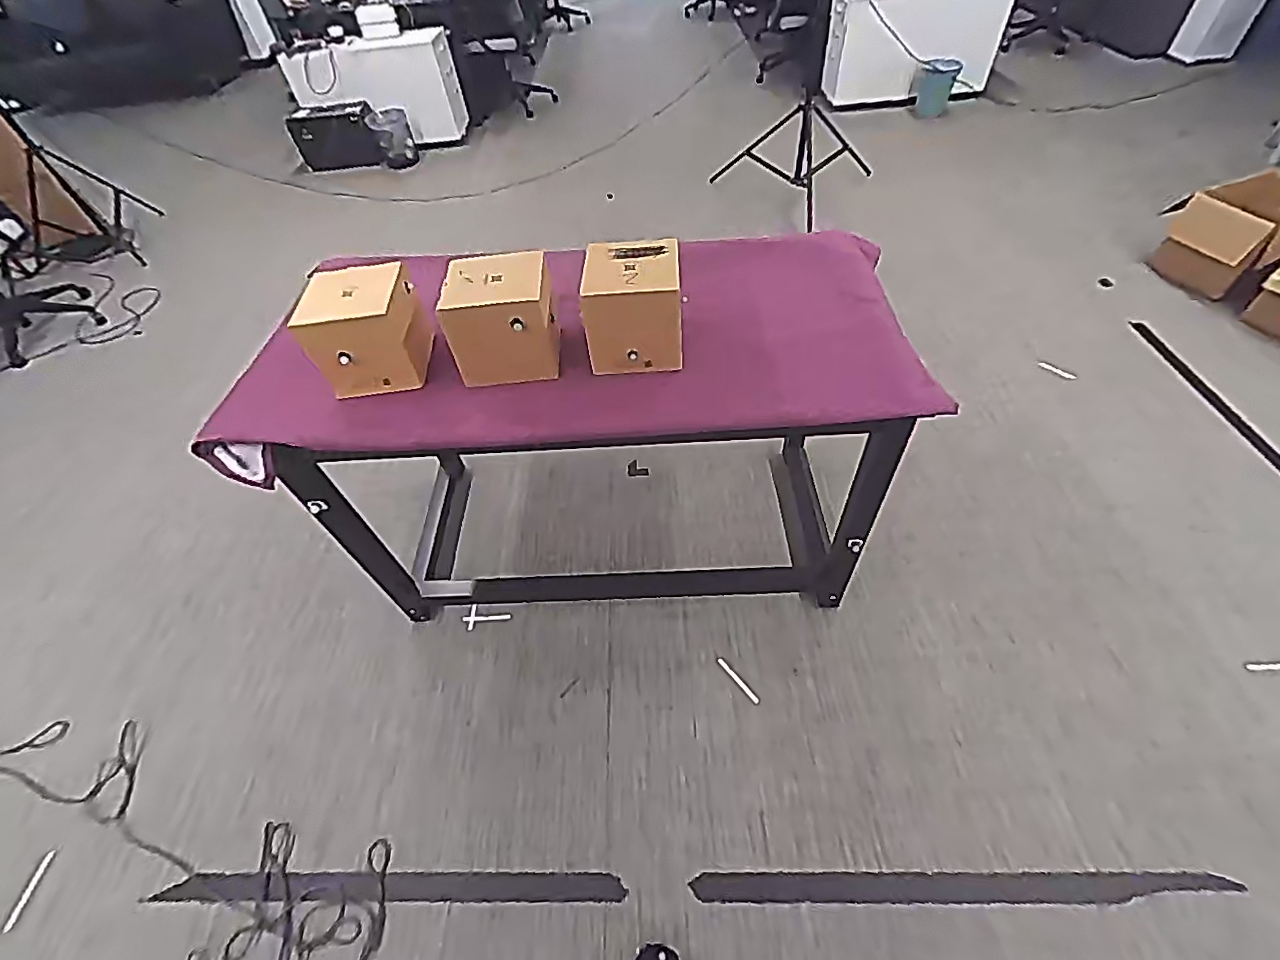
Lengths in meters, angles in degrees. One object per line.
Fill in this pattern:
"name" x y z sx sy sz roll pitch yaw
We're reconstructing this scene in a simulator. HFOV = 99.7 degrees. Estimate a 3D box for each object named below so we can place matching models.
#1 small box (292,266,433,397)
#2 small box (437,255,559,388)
"small box" -0.504 -0.271 1.015 0.168 0.176 0.179 -8 49 -1
"small box" -0.249 -0.290 1.000 0.179 0.176 0.168 -6 49 0
